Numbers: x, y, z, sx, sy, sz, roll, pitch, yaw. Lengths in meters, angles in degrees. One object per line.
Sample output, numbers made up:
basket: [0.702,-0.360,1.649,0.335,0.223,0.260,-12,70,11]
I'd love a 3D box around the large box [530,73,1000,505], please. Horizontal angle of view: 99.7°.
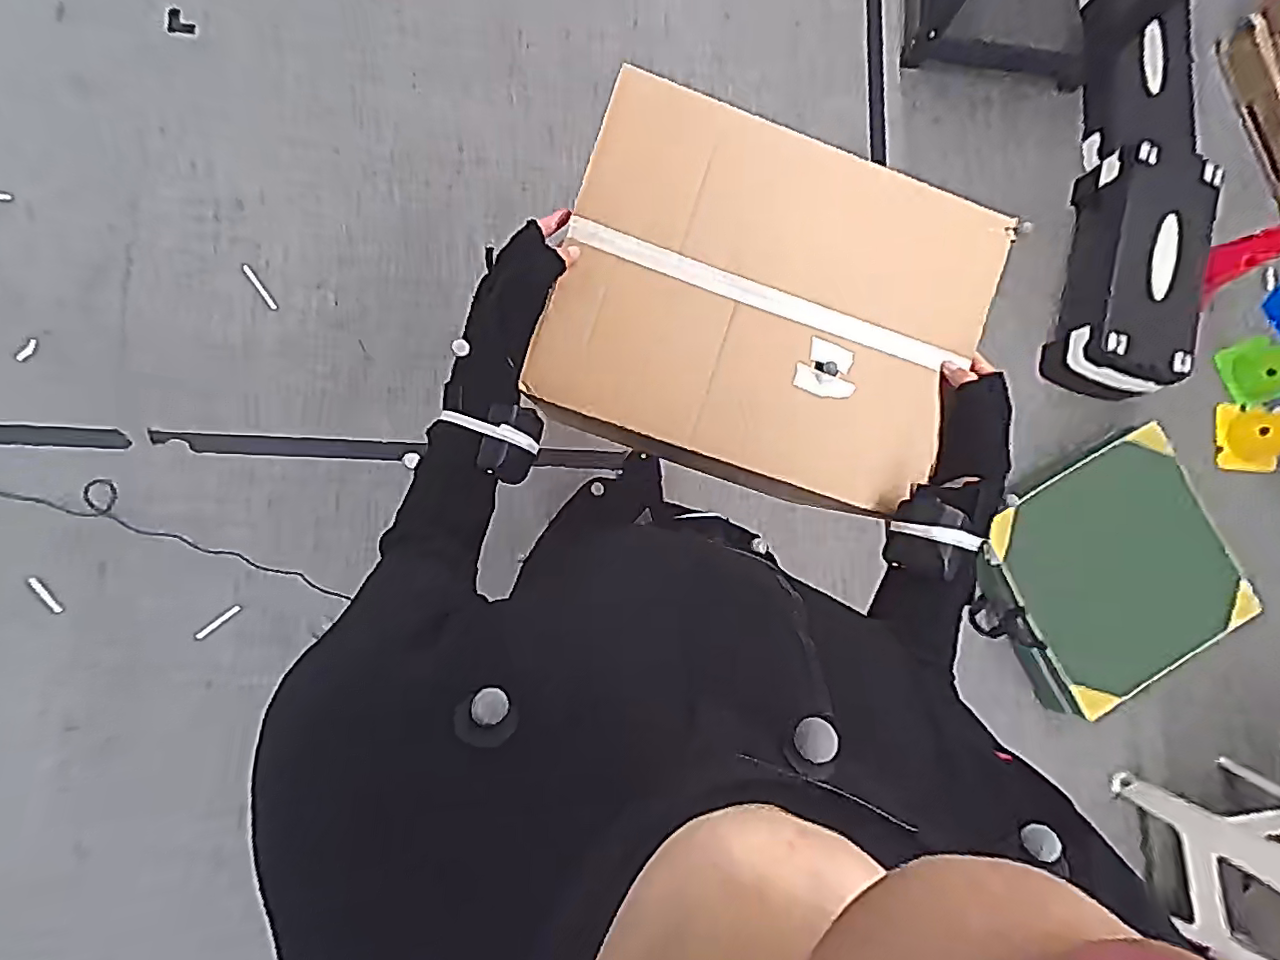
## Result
large box: [0.113,-0.182,0.668,0.408,0.320,0.320,19,91,-6]
